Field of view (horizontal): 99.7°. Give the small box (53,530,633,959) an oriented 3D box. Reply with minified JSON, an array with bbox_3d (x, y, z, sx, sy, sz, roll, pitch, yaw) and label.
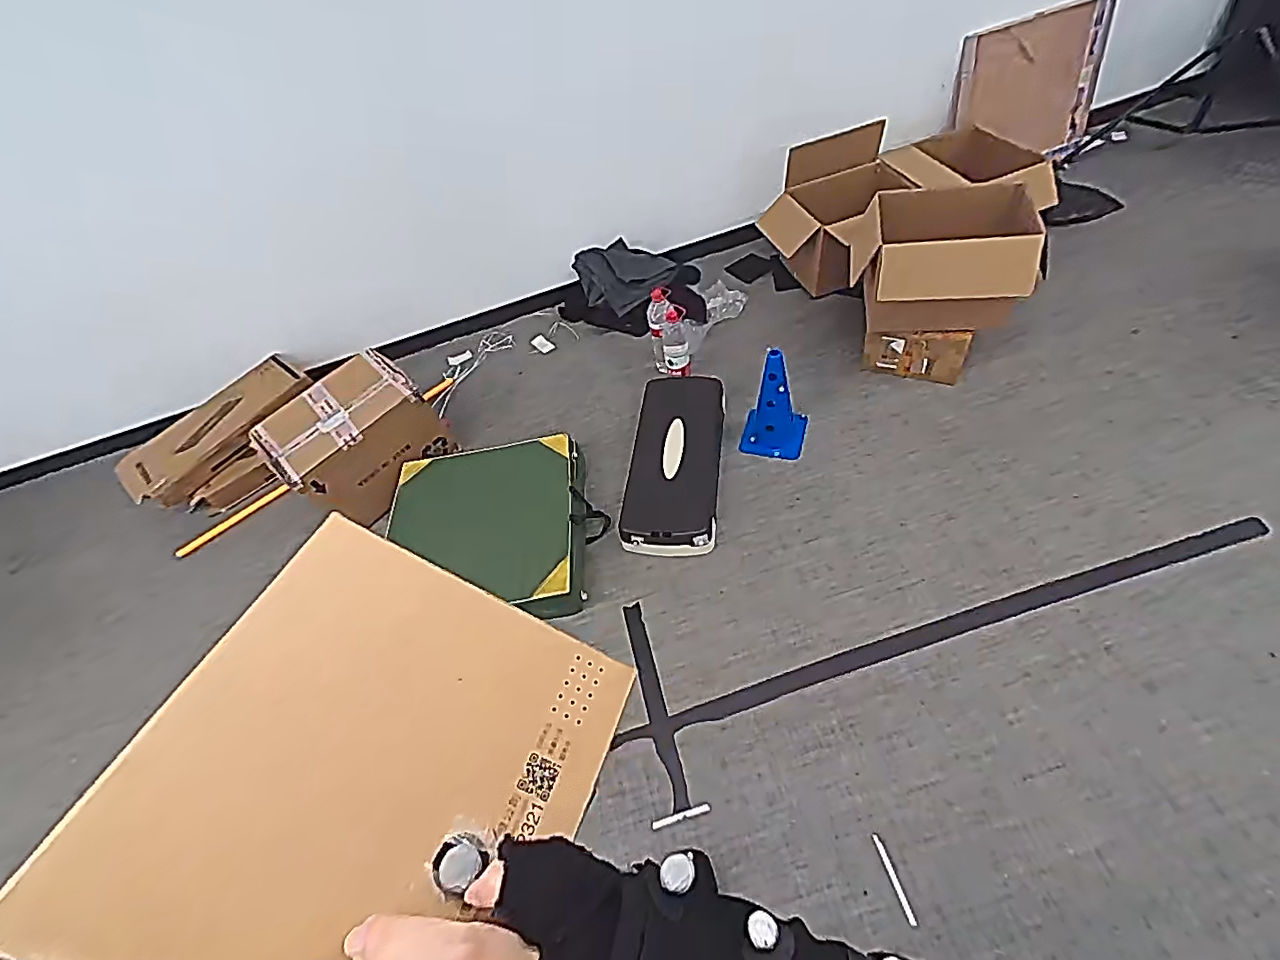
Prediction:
[{"bbox_3d":[-0.127,0.162,0.302,0.176,0.179,0.168,29,55,-5],"label":"small box"}]
